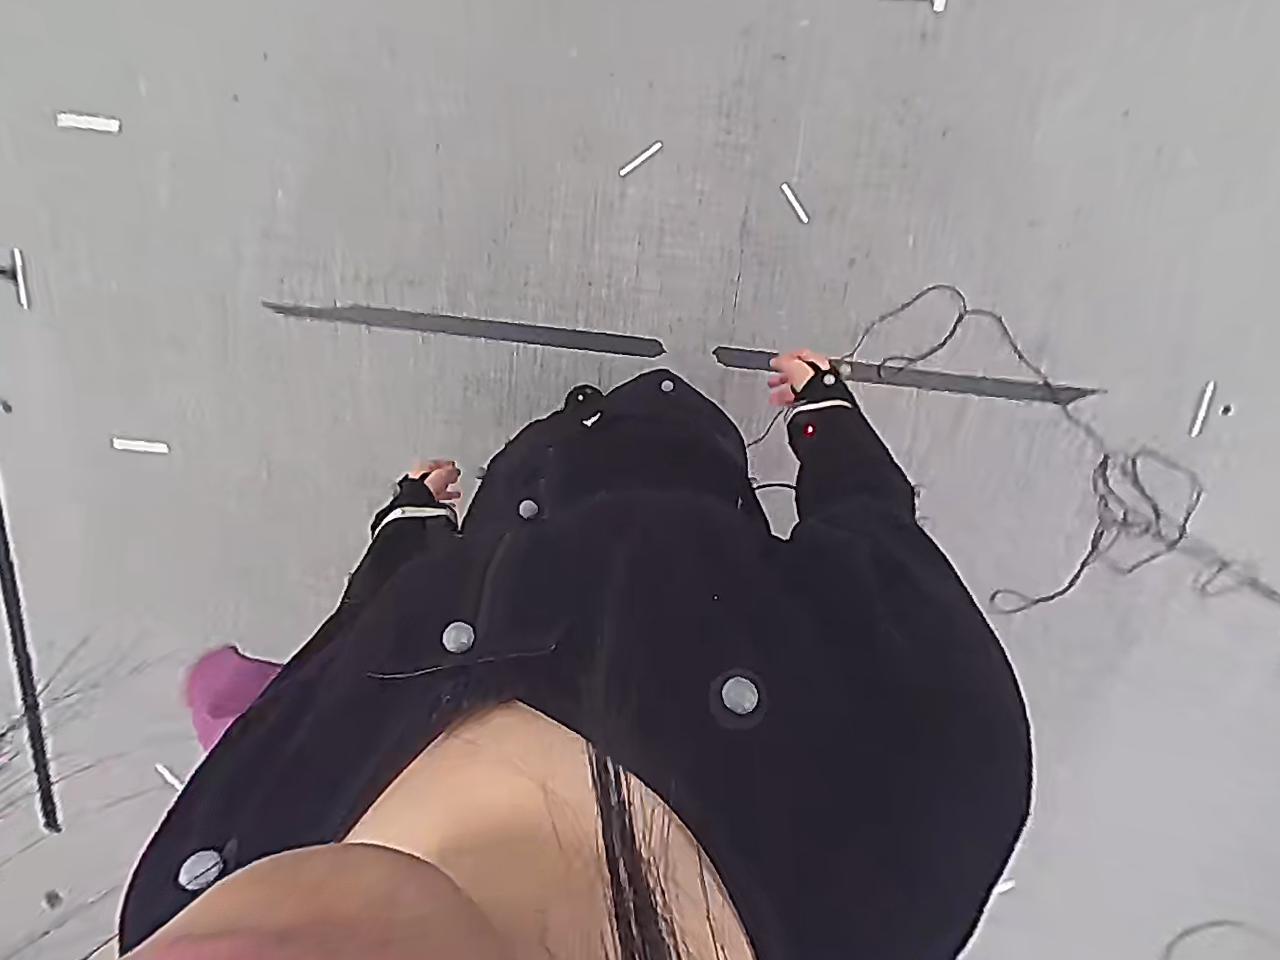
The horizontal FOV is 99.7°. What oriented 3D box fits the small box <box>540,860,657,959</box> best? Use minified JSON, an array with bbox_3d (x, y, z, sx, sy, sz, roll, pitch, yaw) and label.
[{"bbox_3d":[-0.067,0.727,0.828,0.168,0.176,0.179,6,103,0],"label":"small box"}]
